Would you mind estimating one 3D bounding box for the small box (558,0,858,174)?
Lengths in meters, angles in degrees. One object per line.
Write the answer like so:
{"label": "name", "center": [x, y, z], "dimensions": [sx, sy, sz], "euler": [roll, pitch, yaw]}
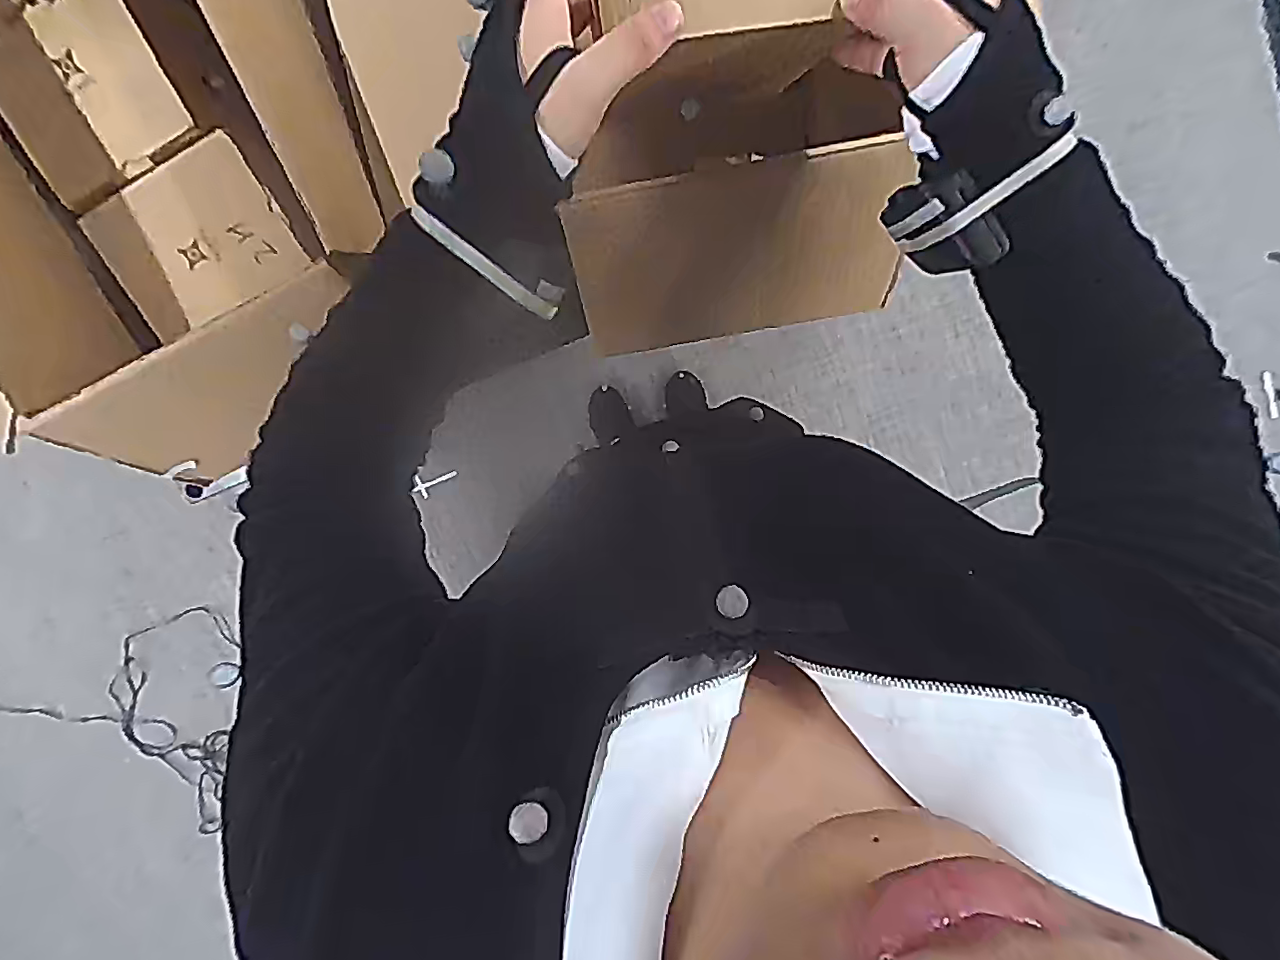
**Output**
{"label": "small box", "center": [0.032, -0.335, 0.376], "dimensions": [0.168, 0.176, 0.179], "euler": [-11, 111, -5]}
